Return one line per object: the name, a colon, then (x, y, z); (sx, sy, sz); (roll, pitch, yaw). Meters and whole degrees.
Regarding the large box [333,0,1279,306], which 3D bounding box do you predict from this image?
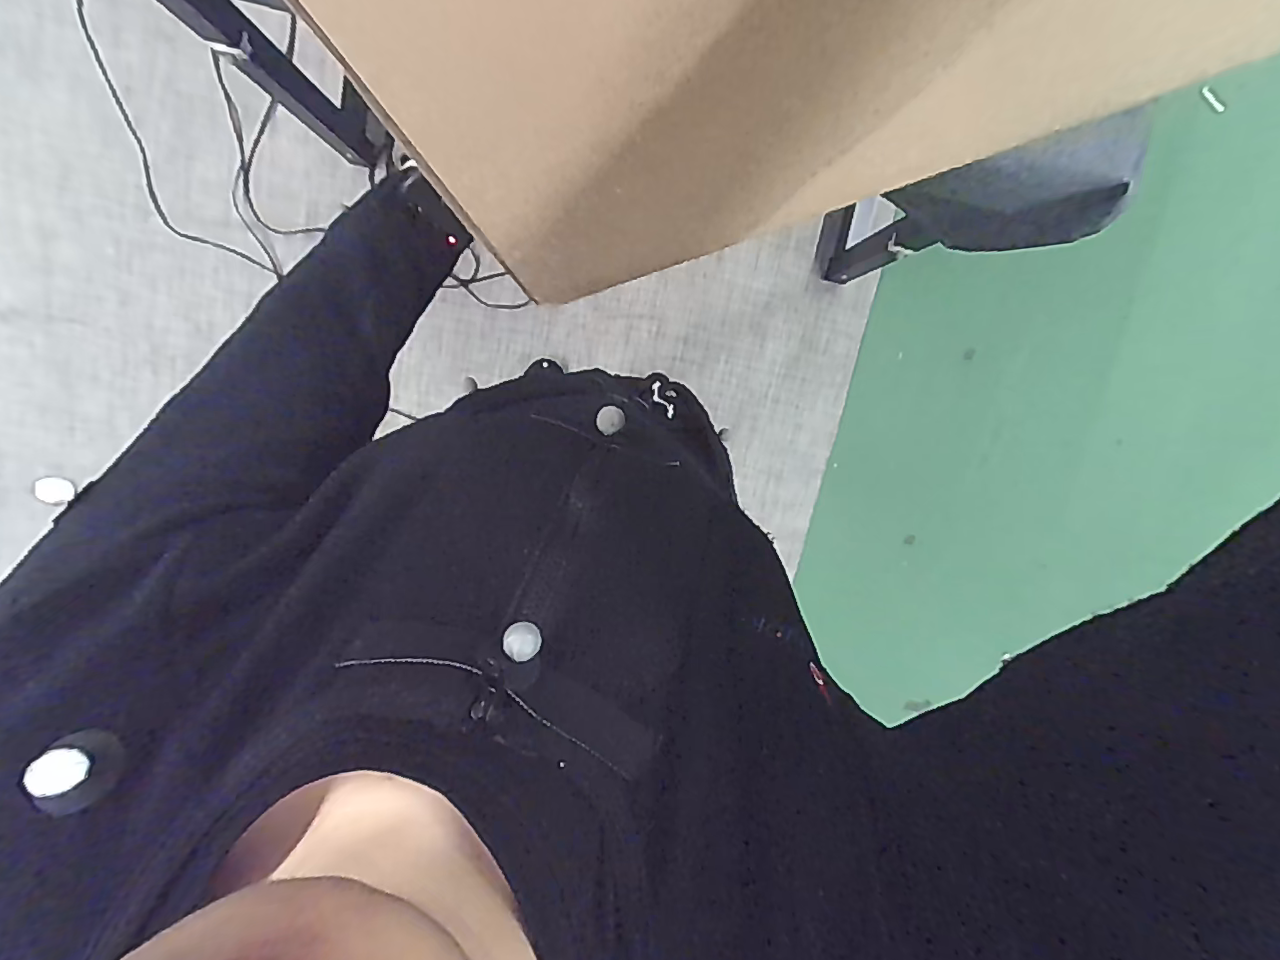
large box: (0.066, -0.347, 0.232); (0.408, 0.320, 0.320); (-16, 64, 17)
